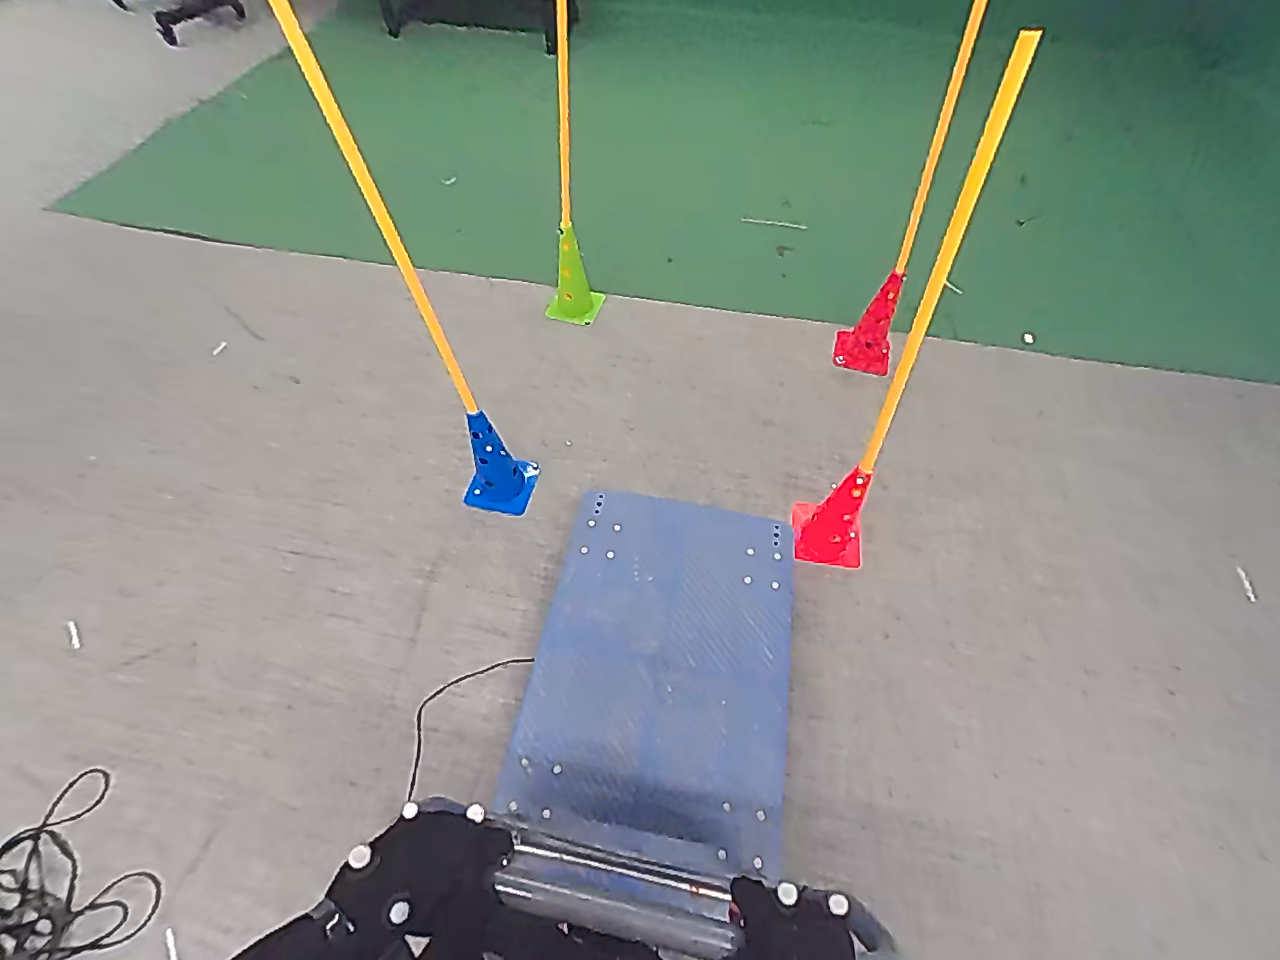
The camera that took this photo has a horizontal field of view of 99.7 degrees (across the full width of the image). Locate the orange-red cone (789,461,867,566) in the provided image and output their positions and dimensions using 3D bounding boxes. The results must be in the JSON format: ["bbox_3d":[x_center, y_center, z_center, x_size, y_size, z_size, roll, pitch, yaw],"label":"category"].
[{"bbox_3d":[0.549,0.067,1.493,0.199,0.360,0.198,8,57,7],"label":"orange-red cone"}]

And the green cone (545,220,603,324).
[{"bbox_3d":[-0.267,-0.806,2.053,0.202,0.368,0.200,13,57,9],"label":"green cone"}]
